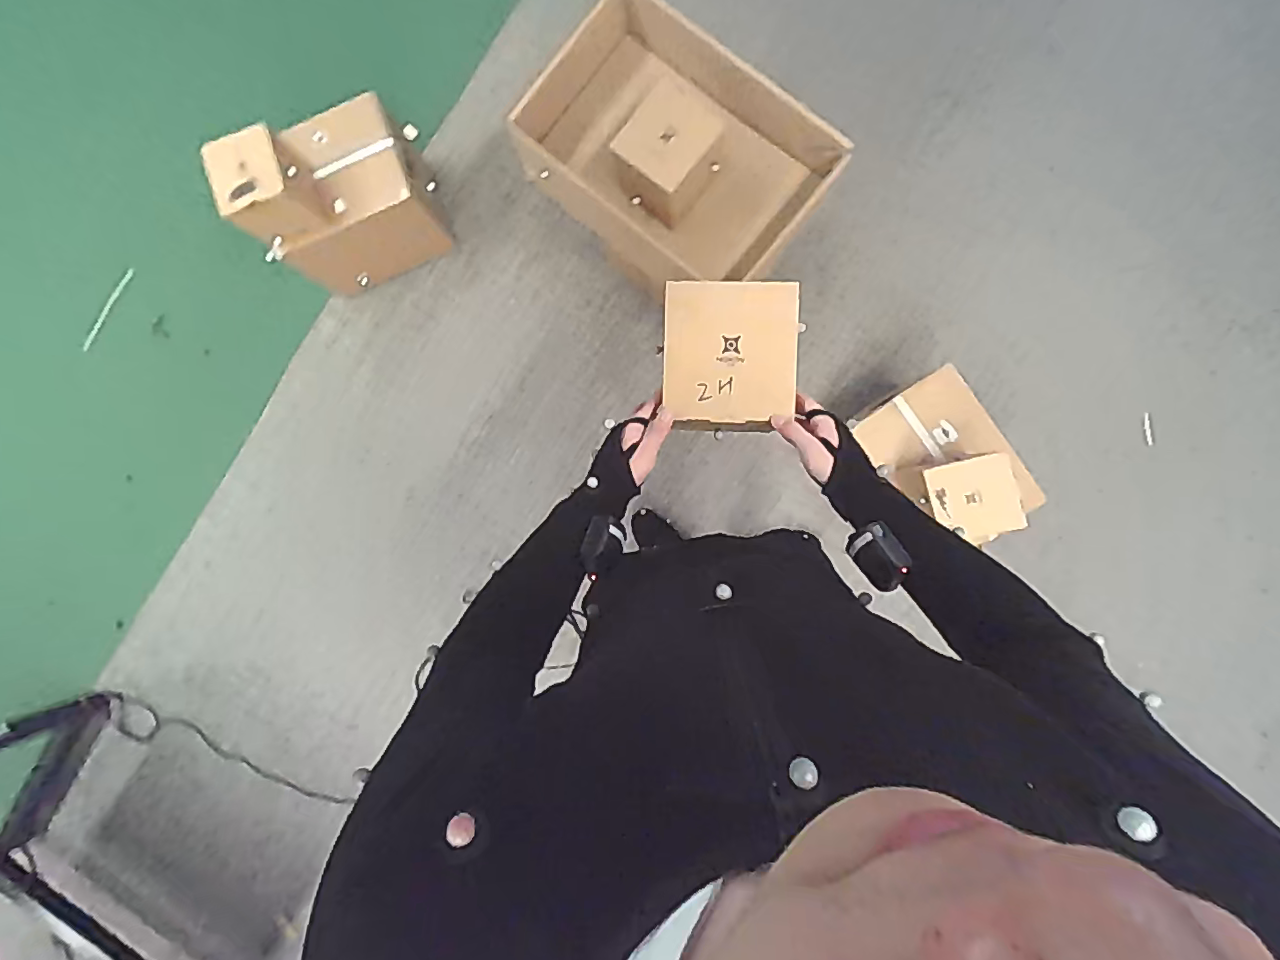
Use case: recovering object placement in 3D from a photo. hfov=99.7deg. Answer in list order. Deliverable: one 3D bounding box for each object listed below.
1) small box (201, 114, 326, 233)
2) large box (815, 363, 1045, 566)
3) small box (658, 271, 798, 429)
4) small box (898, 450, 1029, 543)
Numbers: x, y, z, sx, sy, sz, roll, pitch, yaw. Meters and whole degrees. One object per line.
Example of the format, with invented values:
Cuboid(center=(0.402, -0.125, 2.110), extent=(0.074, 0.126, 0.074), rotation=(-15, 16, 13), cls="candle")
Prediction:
Cuboid(center=(-0.907, -0.733, 1.321), extent=(0.168, 0.176, 0.179), rotation=(-18, 88, 3), cls="small box")
Cuboid(center=(0.736, -0.035, 1.441), extent=(0.320, 0.320, 0.408), rotation=(-33, 86, 3), cls="large box")
Cuboid(center=(0.111, -0.166, 0.739), extent=(0.168, 0.176, 0.179), rotation=(2, 91, 3), cls="small box")
Cuboid(center=(0.705, 0.033, 1.196), extent=(0.179, 0.176, 0.168), rotation=(-13, 88, 5), cls="small box")
